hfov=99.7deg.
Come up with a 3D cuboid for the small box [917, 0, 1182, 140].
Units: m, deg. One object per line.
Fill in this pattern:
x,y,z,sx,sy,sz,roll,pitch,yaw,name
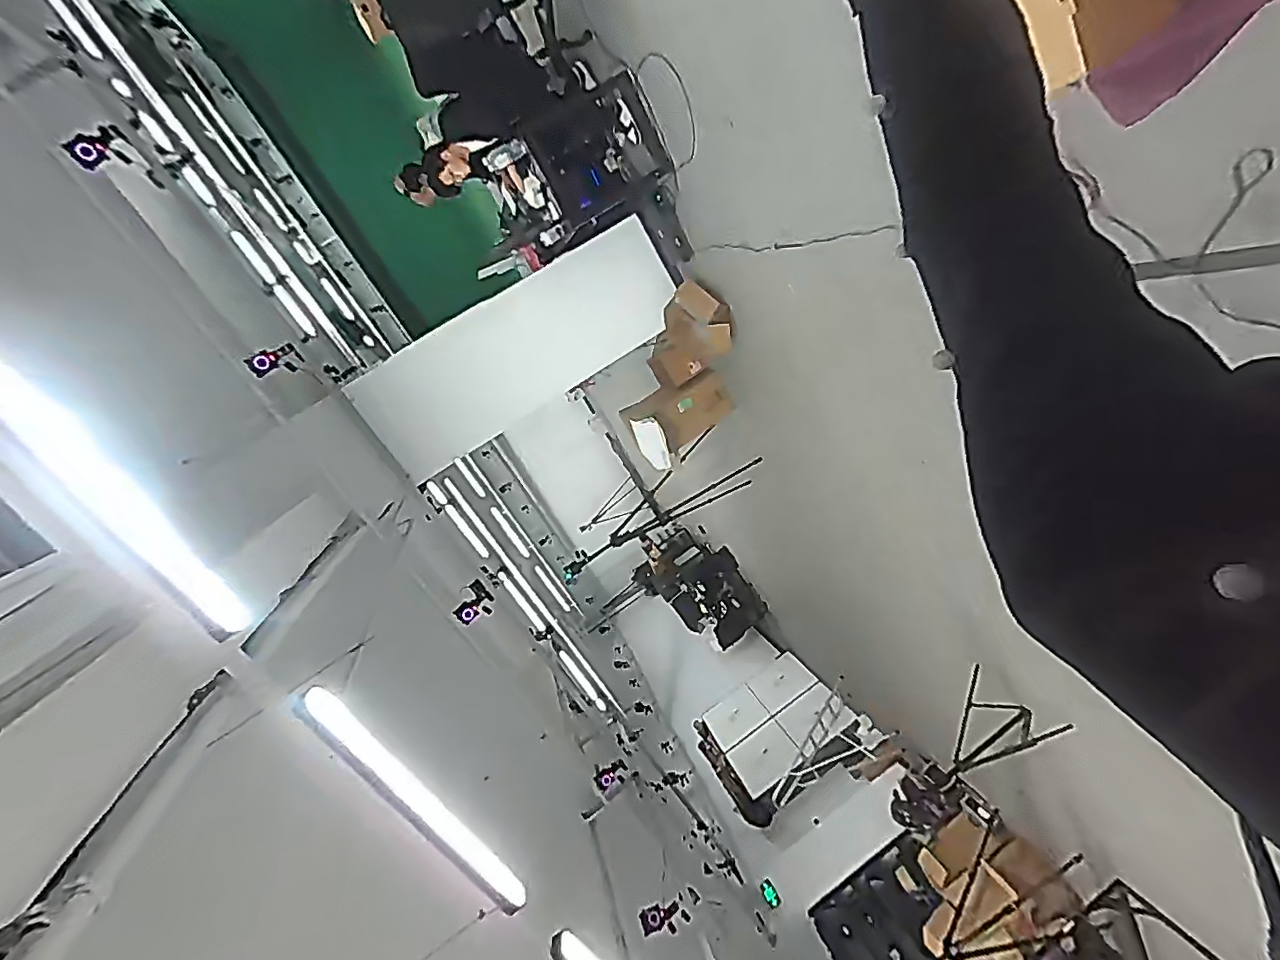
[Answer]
0.489,-0.565,0.657,0.168,0.176,0.179,59,171,-16,small box
